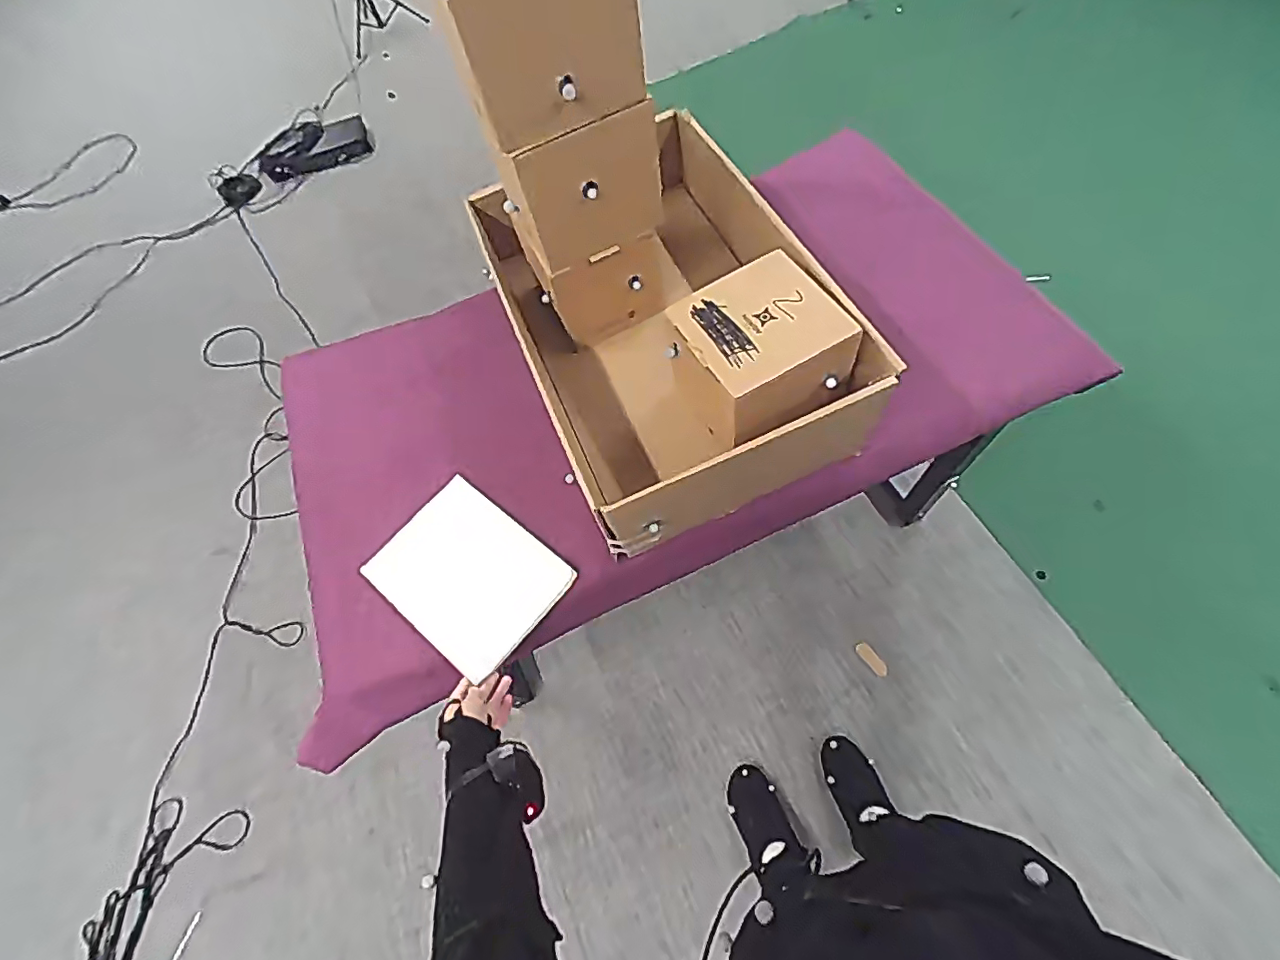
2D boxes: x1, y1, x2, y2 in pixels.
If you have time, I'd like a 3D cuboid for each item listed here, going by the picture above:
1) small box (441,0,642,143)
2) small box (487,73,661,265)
[{"bbox_3d":[-0.106,-0.488,0.546,0.179,0.176,0.168,-24,64,-5],"label":"small box"},{"bbox_3d":[-0.082,-0.417,0.693,0.179,0.176,0.168,-27,65,-5],"label":"small box"}]
